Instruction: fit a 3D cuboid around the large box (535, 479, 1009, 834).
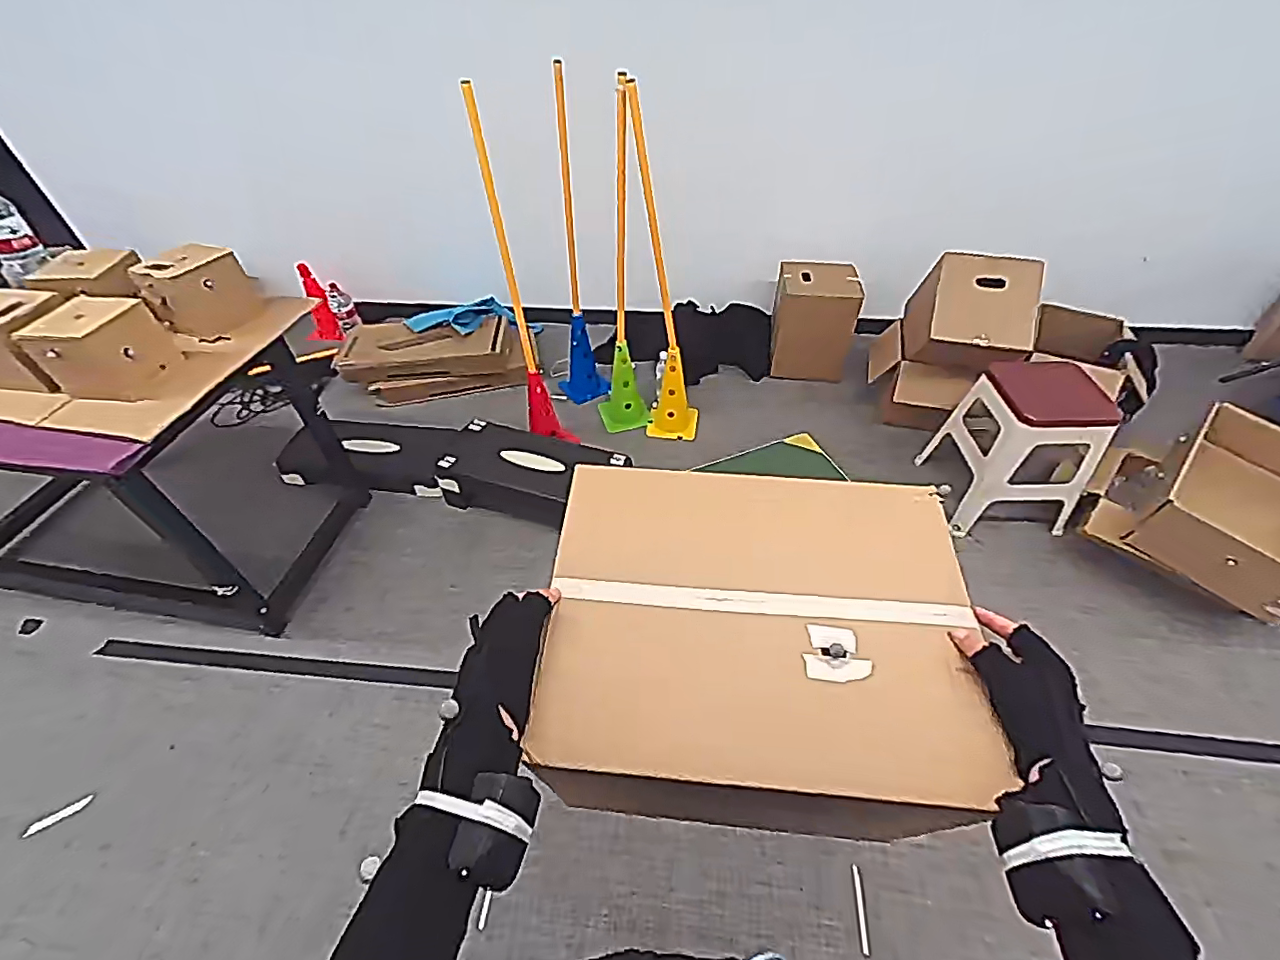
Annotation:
[{"bbox_3d":[0.118,0.220,0.656,0.408,0.320,0.320,4,54,4],"label":"large box"}]
